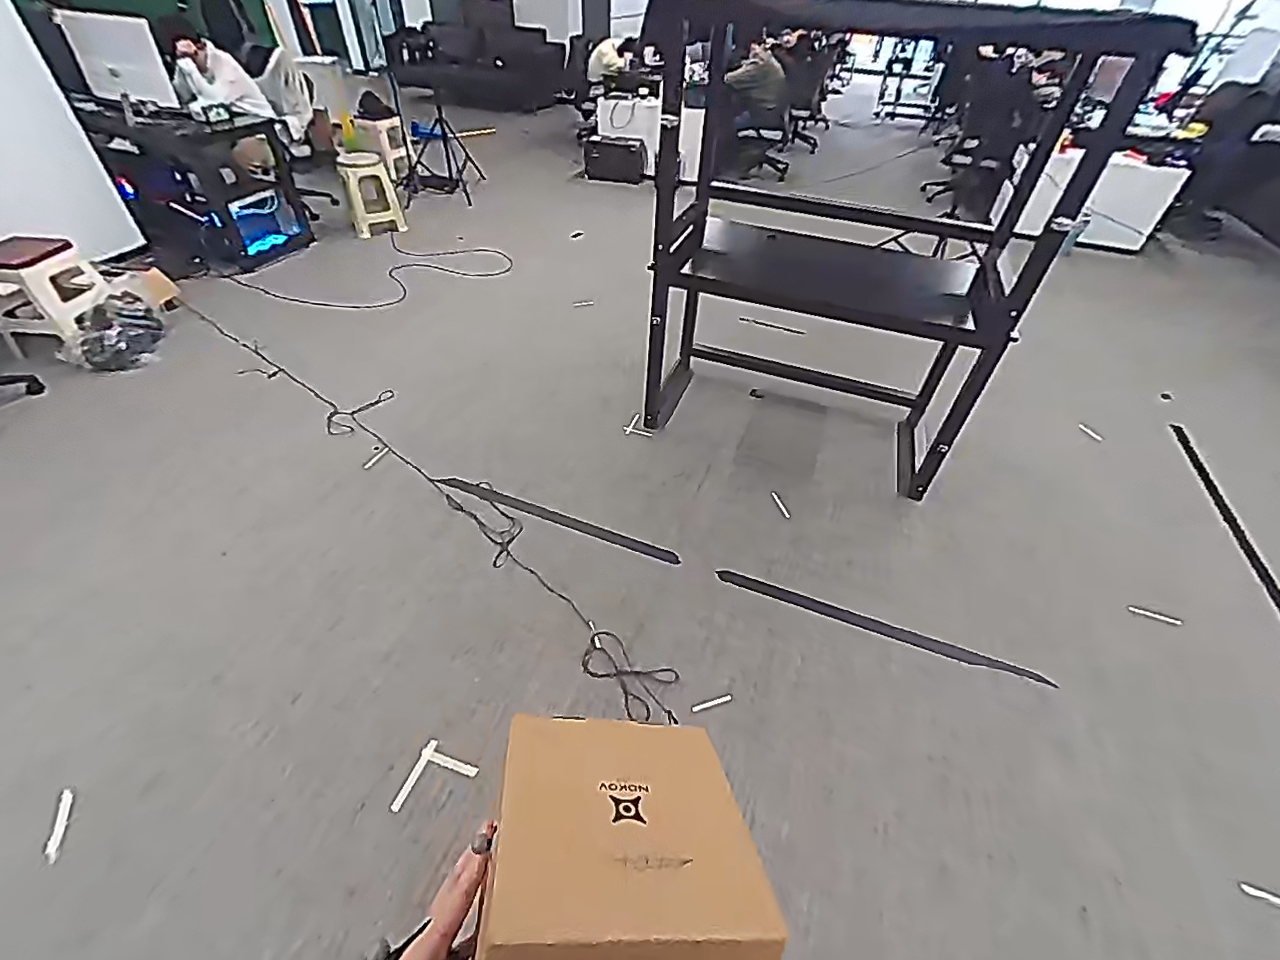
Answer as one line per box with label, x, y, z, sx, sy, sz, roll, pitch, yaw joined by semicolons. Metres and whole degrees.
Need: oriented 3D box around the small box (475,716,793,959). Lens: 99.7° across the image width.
small box;-0.023;0.298;0.378;0.168;0.176;0.179;9;12;-12
